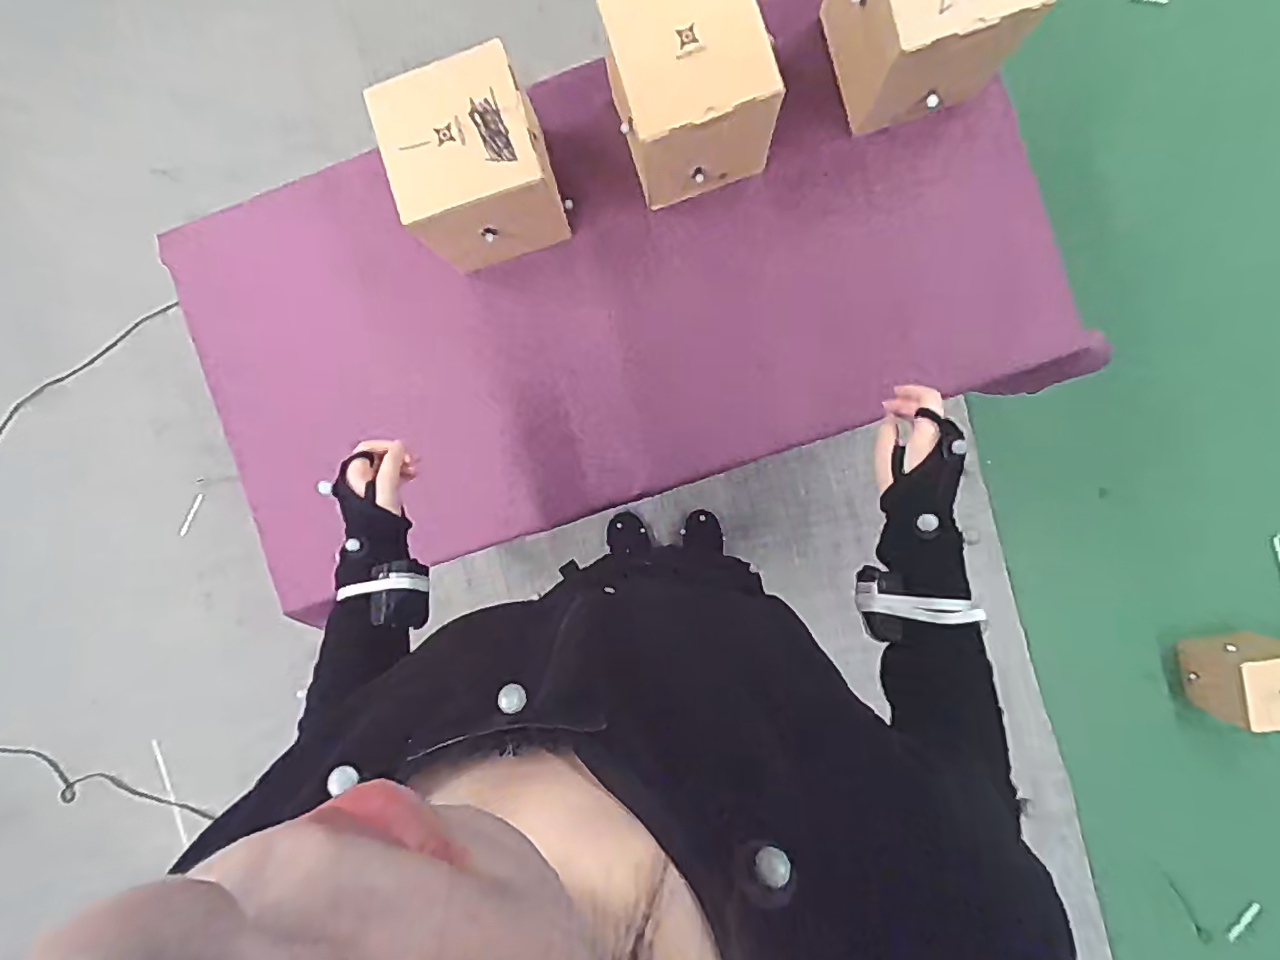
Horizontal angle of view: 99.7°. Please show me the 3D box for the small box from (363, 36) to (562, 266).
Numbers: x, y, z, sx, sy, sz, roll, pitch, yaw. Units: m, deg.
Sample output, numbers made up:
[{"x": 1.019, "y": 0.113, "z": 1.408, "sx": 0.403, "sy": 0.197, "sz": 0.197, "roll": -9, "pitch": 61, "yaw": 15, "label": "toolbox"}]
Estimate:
[{"x": -0.210, "y": -0.403, "z": 0.696, "sx": 0.179, "sy": 0.176, "sz": 0.168, "roll": -16, "pitch": 91, "yaw": 6, "label": "small box"}]

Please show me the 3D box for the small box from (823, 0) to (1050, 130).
[{"x": 0.334, "y": -0.567, "z": 0.642, "sx": 0.168, "sy": 0.176, "sz": 0.179, "roll": -15, "pitch": 94, "yaw": 6, "label": "small box"}]

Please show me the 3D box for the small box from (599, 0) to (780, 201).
[{"x": 0.057, "y": -0.490, "z": 0.673, "sx": 0.168, "sy": 0.176, "sz": 0.179, "roll": -18, "pitch": 92, "yaw": 5, "label": "small box"}]
